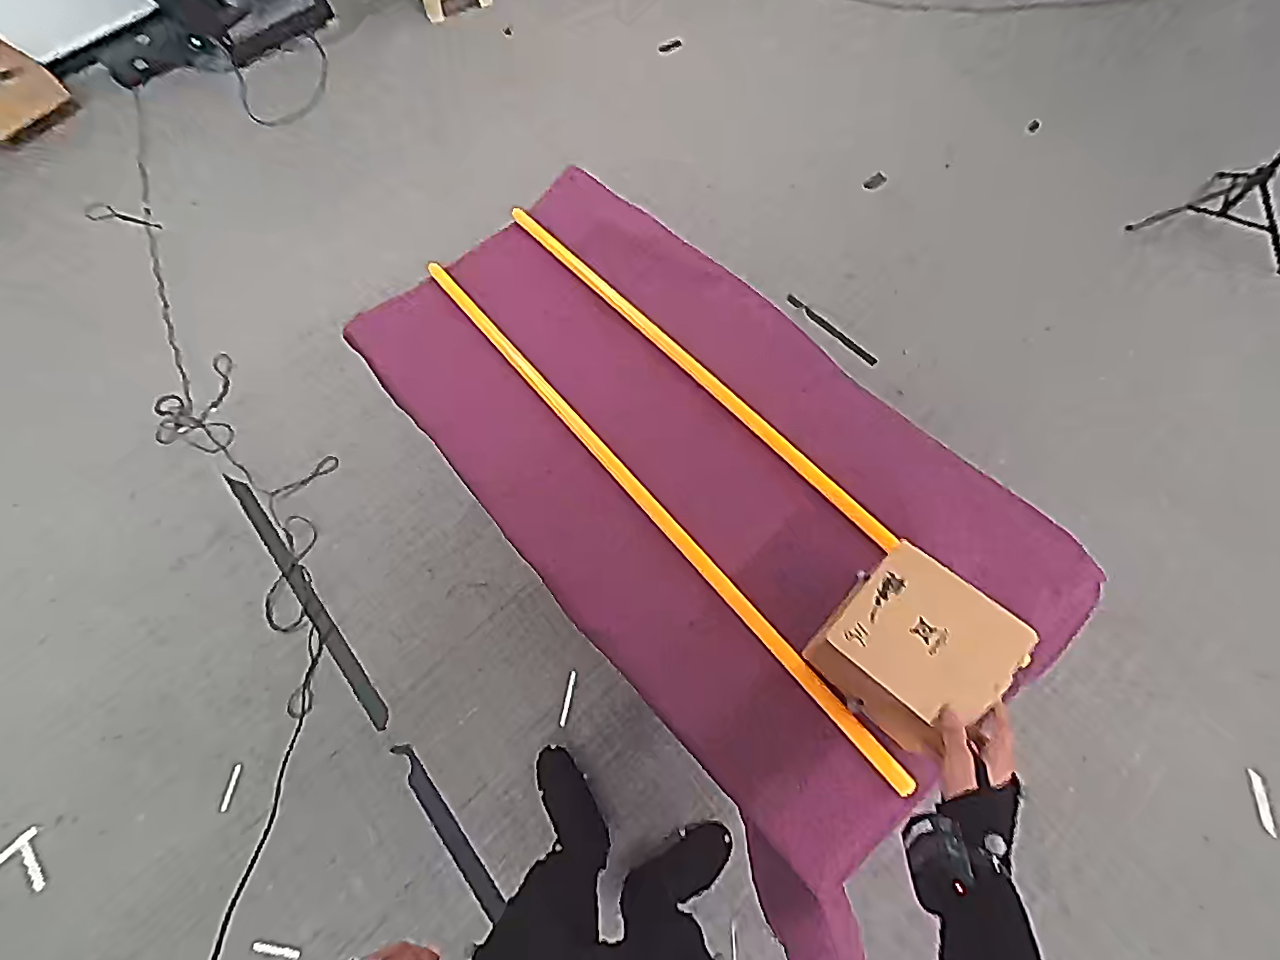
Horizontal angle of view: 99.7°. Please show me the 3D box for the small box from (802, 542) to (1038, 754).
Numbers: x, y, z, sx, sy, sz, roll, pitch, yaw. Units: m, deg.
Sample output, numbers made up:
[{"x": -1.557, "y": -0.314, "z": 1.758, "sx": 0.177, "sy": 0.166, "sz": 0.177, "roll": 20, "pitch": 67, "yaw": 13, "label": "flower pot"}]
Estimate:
[{"x": 0.335, "y": 0.212, "z": 0.685, "sx": 0.179, "sy": 0.176, "sz": 0.168, "roll": 41, "pitch": 74, "yaw": 20, "label": "small box"}]
